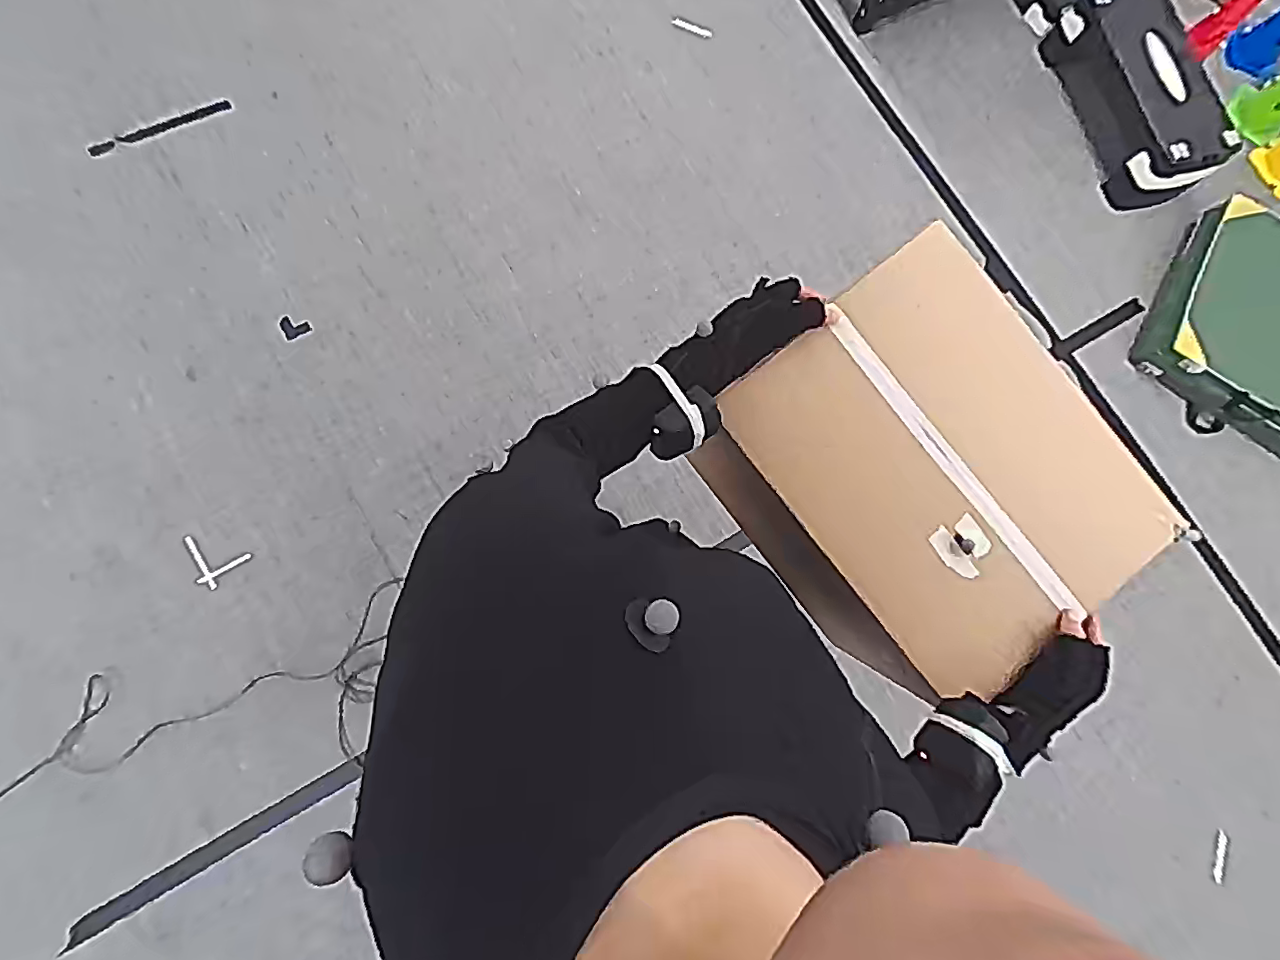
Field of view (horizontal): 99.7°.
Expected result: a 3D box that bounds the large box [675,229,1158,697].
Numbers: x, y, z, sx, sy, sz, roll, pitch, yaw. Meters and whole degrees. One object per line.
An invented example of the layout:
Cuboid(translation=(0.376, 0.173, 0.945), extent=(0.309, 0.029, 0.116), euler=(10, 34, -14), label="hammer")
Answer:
Cuboid(translation=(0.300, -0.018, 0.708), extent=(0.320, 0.320, 0.408), euler=(-38, 91, -3), label="large box")
